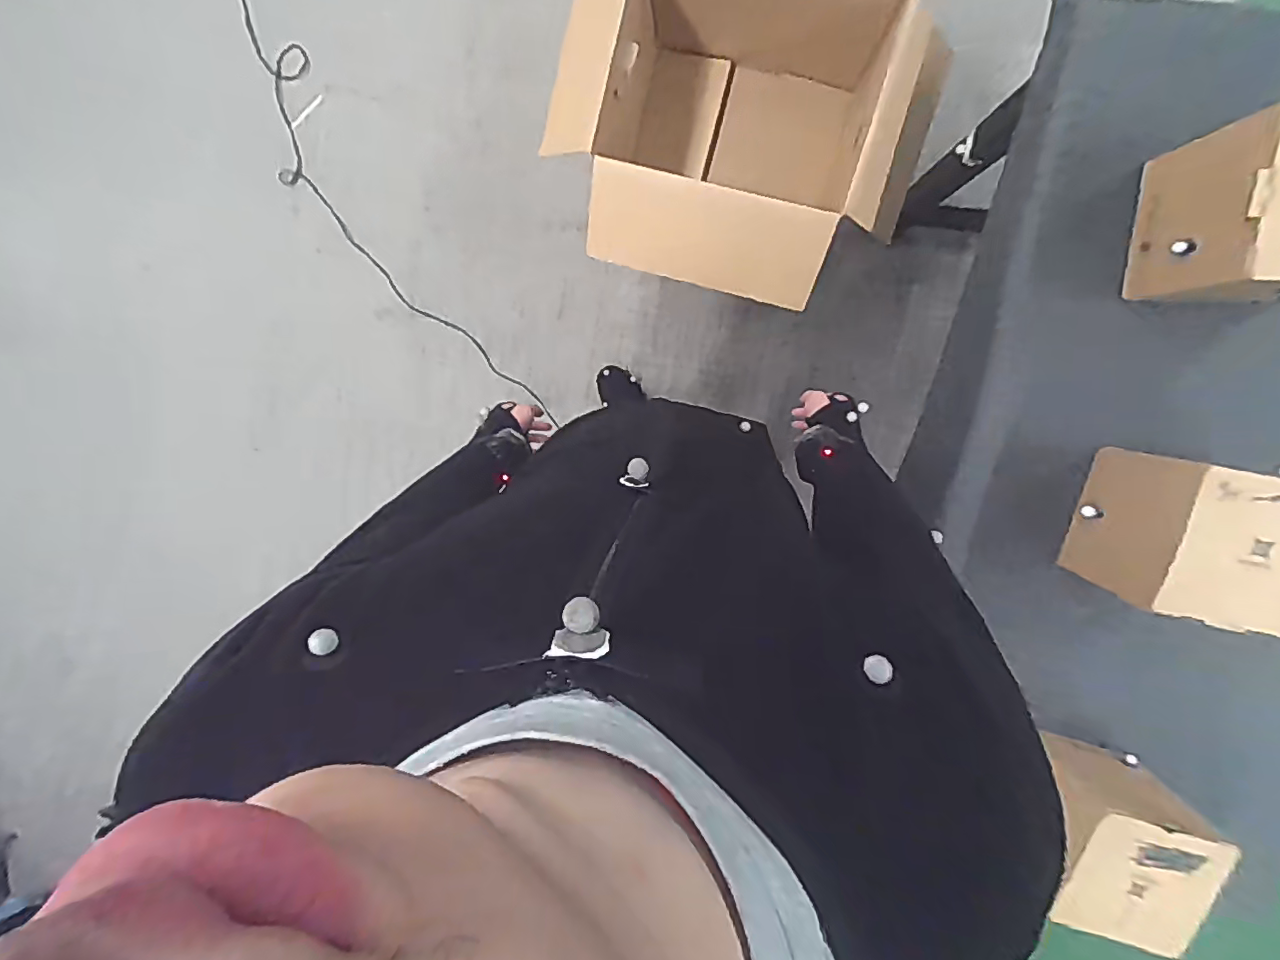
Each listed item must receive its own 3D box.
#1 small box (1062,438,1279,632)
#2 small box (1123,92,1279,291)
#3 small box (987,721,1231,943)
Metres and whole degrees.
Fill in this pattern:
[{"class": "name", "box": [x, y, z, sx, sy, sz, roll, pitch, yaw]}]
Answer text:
[{"class": "small box", "box": [0.678, 0.057, 0.672, 0.168, 0.176, 0.179, 12, 103, 4]}, {"class": "small box", "box": [0.698, -0.305, 0.598, 0.179, 0.176, 0.168, 1, 103, 4]}, {"class": "small box", "box": [0.631, 0.477, 0.759, 0.168, 0.176, 0.179, 16, 103, 3]}]
